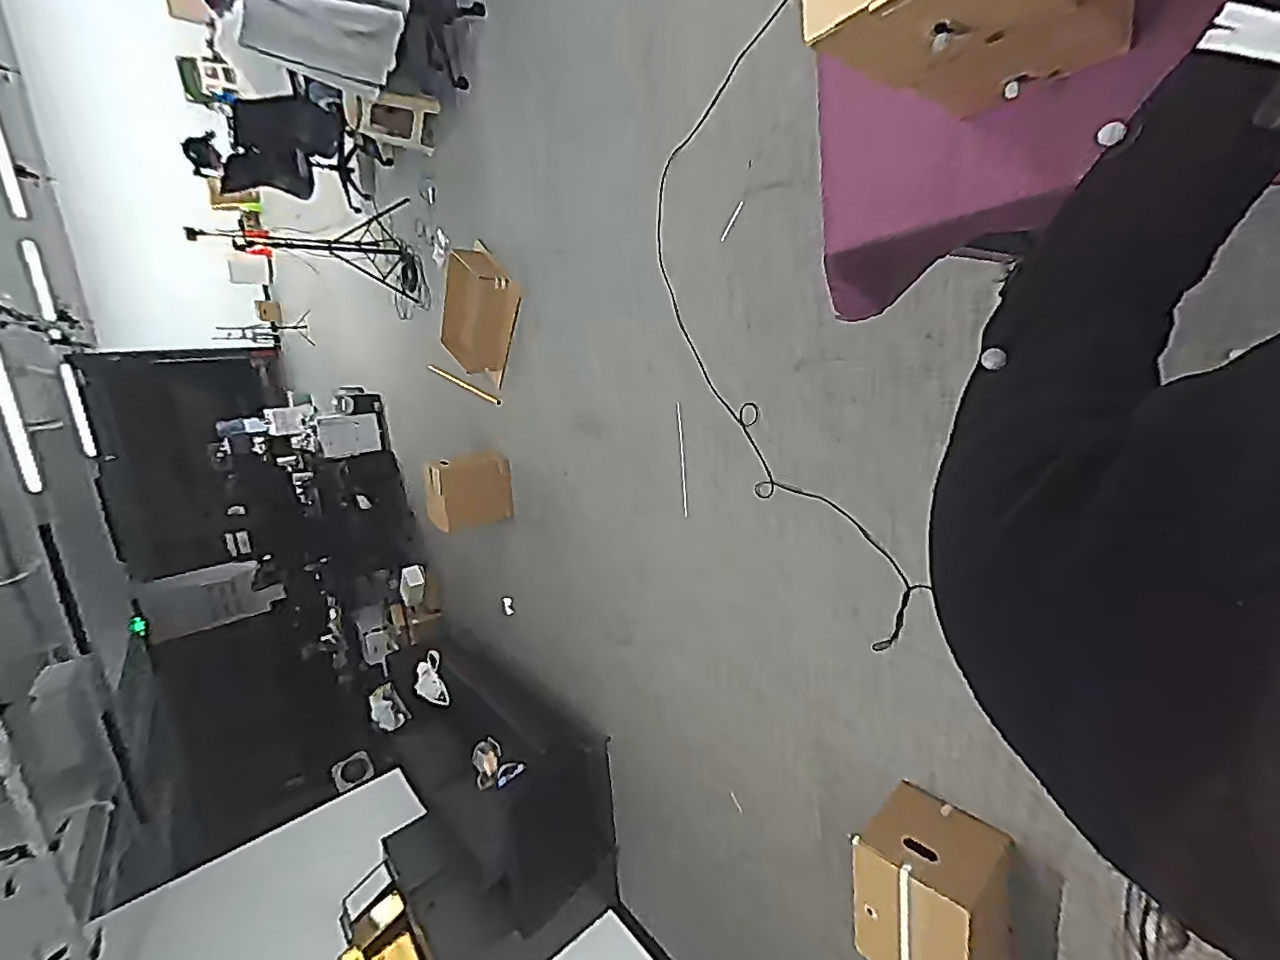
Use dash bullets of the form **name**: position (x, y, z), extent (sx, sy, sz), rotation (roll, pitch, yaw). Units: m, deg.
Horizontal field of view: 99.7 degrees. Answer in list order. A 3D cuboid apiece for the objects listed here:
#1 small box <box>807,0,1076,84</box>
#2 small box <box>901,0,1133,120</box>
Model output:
- **small box**: position (0.261, -0.475, 0.462), extent (0.168, 0.176, 0.179), rotation (10, 109, 49)
- **small box**: position (0.389, -0.513, 0.558), extent (0.168, 0.176, 0.179), rotation (9, 109, 50)
